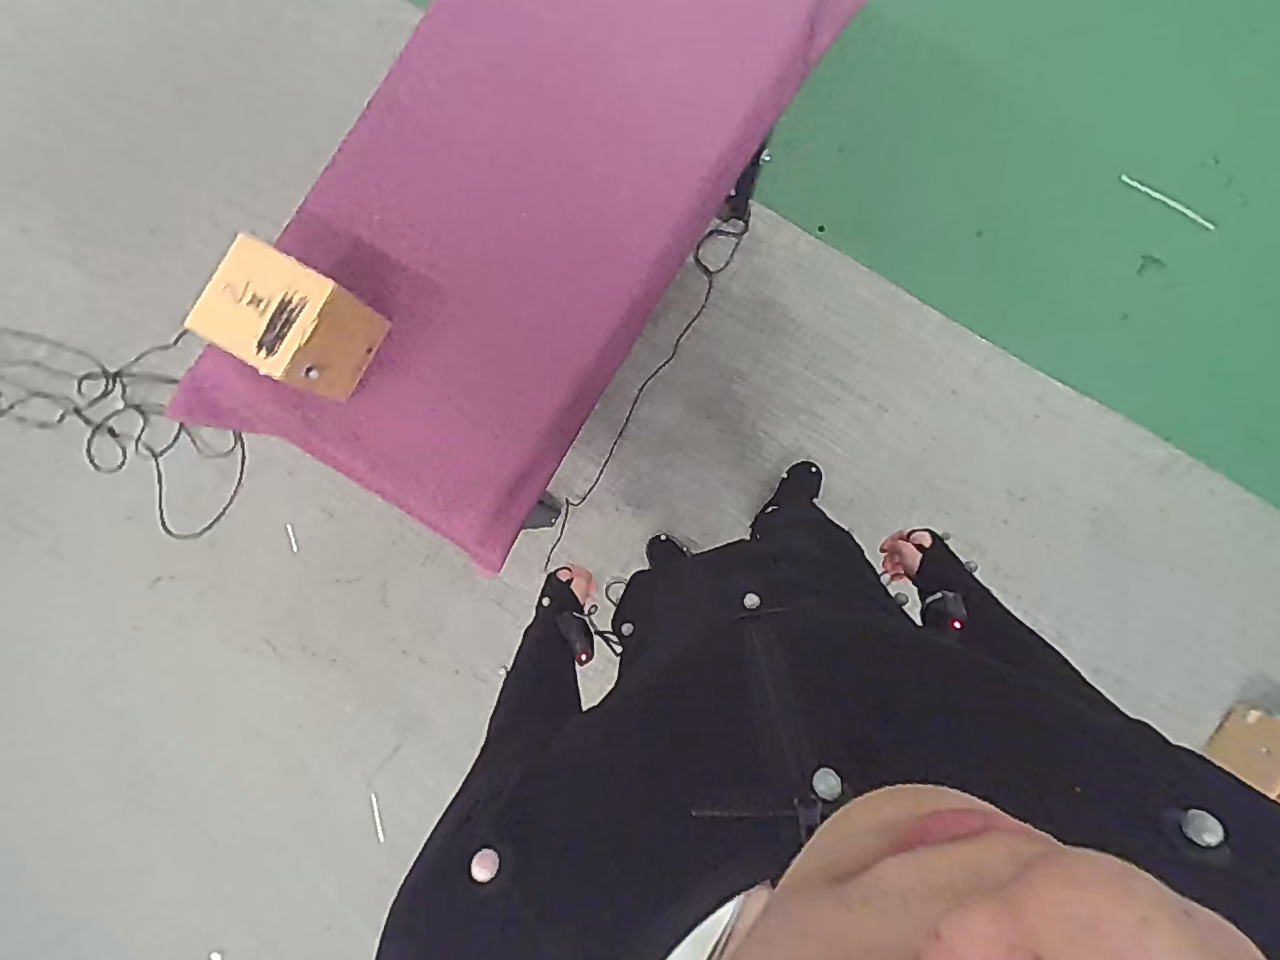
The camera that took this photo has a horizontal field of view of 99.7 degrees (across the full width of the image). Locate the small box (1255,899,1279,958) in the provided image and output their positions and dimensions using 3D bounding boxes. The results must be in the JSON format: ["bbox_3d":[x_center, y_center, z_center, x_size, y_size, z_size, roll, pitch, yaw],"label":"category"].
[{"bbox_3d":[1.607,1.098,1.234,0.179,0.176,0.168,38,89,5],"label":"small box"}]
